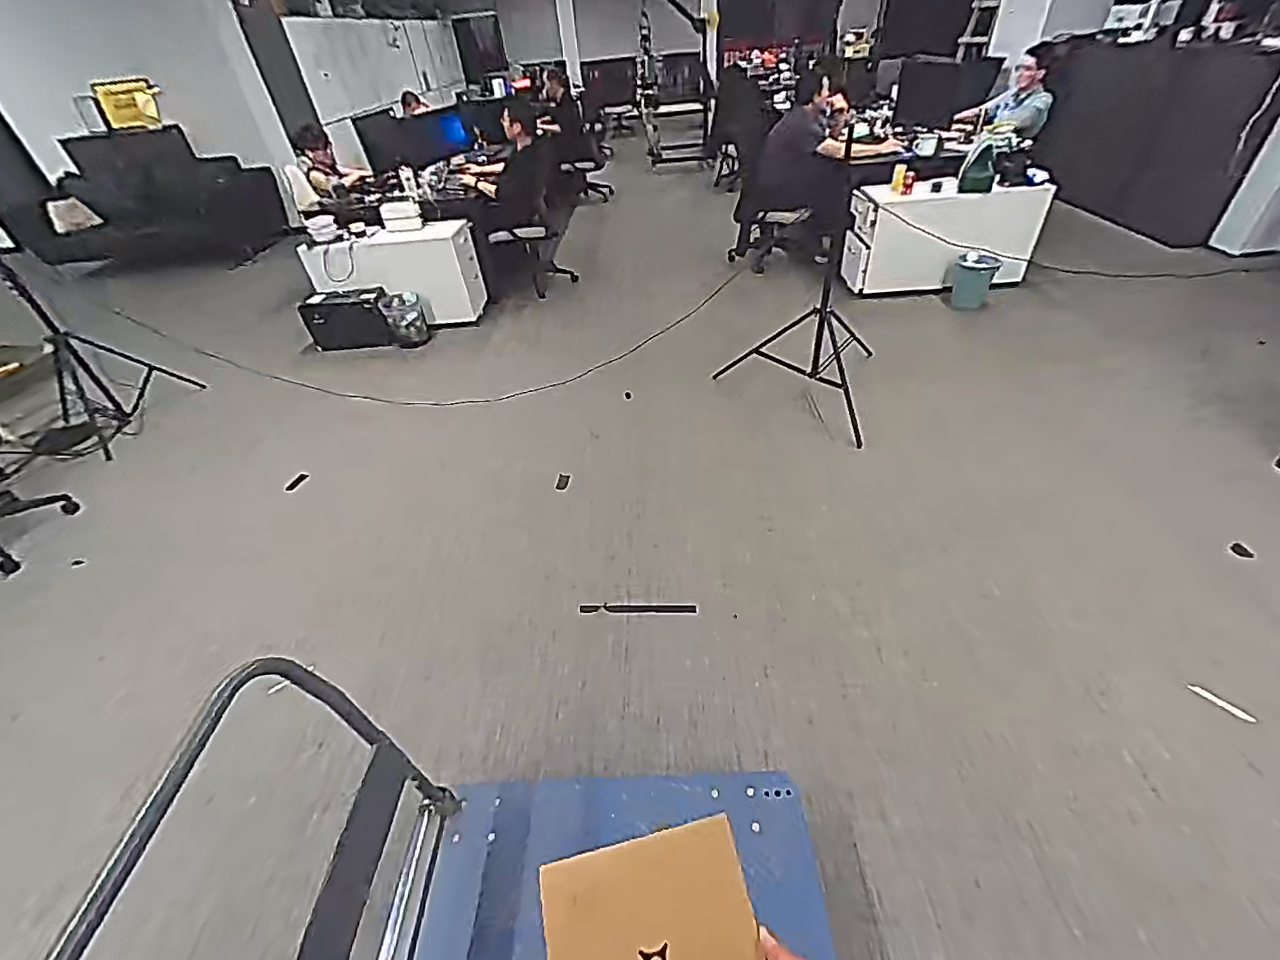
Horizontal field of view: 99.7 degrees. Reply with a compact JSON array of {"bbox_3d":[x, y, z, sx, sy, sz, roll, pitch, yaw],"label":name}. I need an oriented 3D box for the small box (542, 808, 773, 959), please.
[{"bbox_3d":[0.024,0.409,0.468,0.168,0.176,0.179,-15,56,-2],"label":"small box"}]
